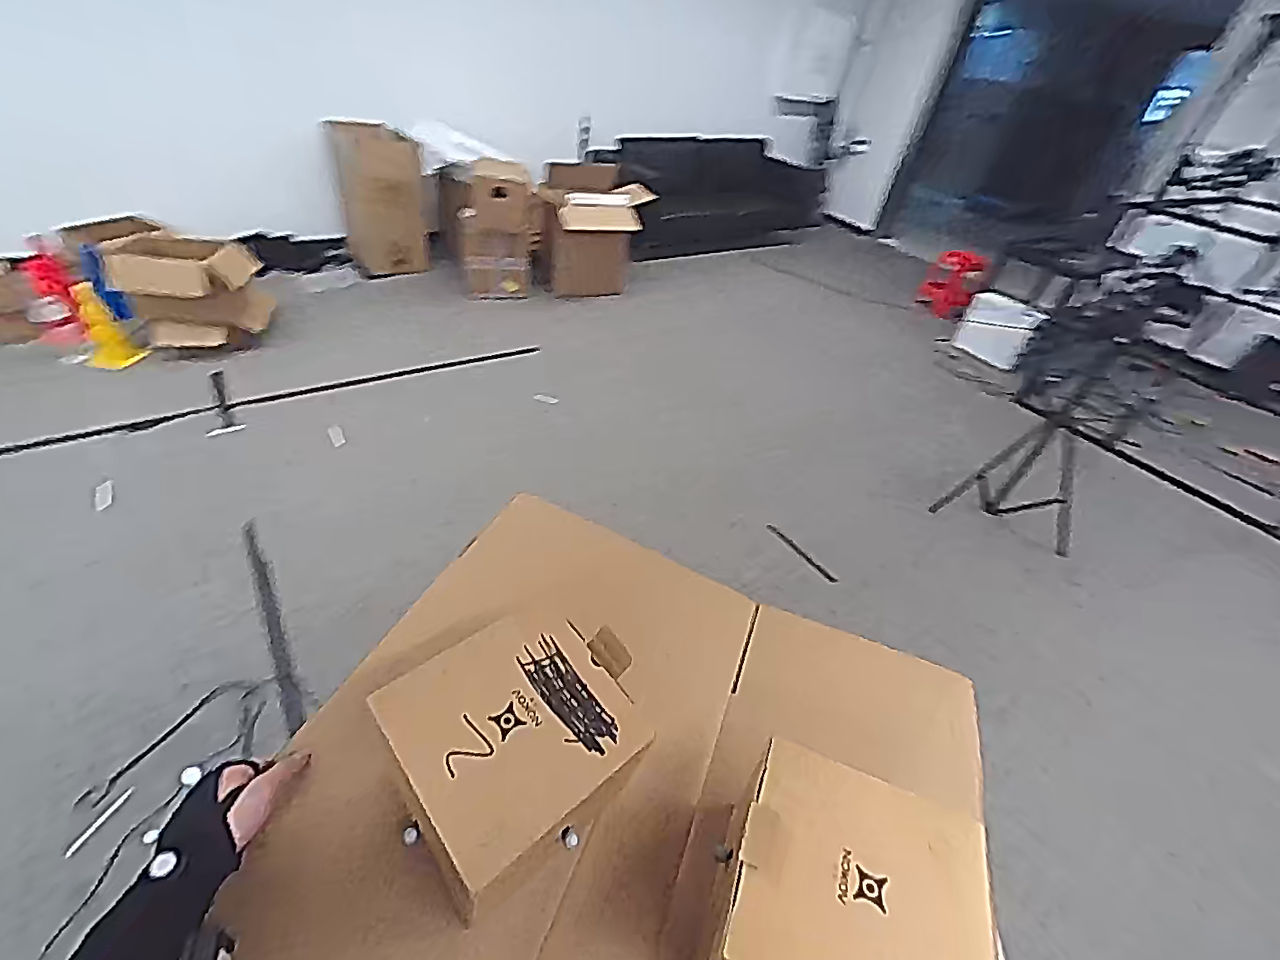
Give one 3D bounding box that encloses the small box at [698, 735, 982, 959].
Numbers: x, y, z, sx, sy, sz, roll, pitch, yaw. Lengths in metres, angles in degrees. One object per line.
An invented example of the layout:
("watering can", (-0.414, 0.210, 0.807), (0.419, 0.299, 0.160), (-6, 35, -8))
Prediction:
("small box", (0.161, 0.362, 0.463), (0.179, 0.176, 0.168), (16, 41, 14))
